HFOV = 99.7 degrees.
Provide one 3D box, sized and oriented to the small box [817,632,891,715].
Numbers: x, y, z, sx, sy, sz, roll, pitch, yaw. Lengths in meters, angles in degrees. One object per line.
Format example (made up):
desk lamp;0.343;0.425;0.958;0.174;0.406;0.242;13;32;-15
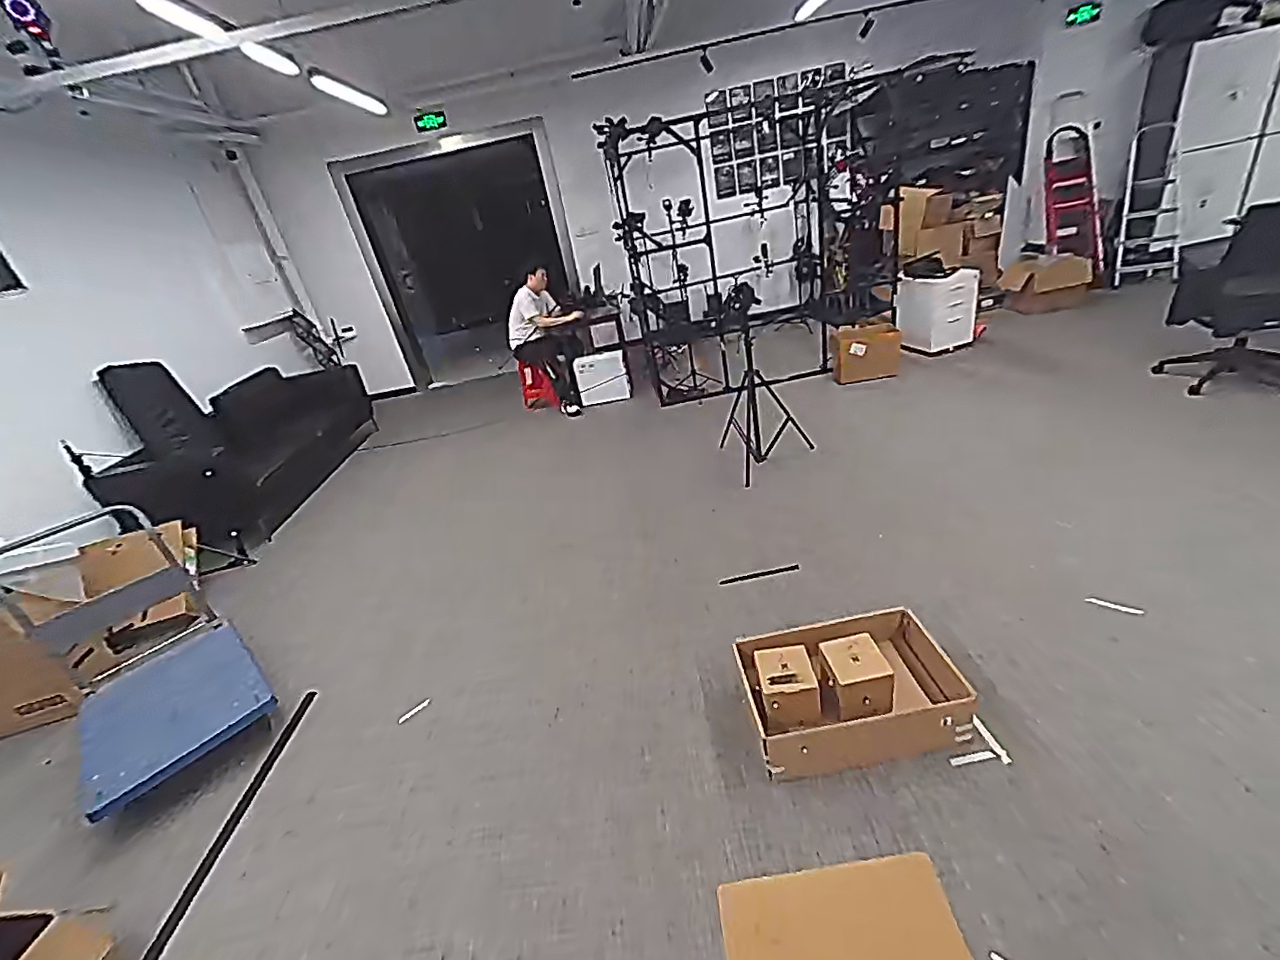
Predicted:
small box;0.677;0.619;1.712;0.168;0.176;0.179;-12;27;0
